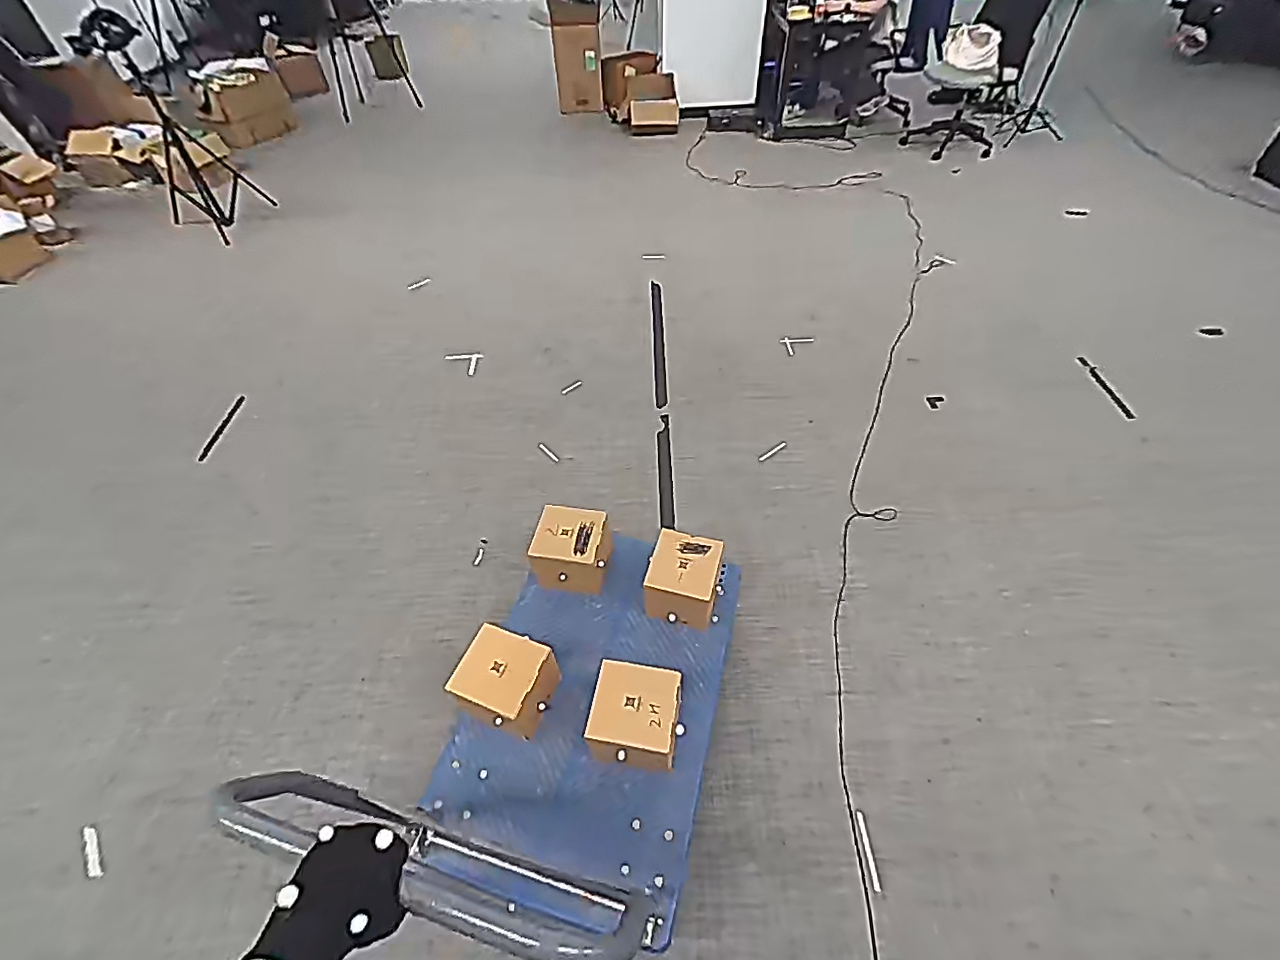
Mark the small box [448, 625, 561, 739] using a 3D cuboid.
[{"bbox_3d":[-0.301,0.466,1.239,0.179,0.176,0.168,16,52,15],"label":"small box"}]

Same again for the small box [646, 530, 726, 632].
[{"bbox_3d":[0.119,0.261,1.393,0.168,0.176,0.179,12,52,13],"label":"small box"}]

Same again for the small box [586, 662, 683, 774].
[{"bbox_3d":[-0.005,0.519,1.176,0.179,0.176,0.168,7,50,9],"label":"small box"}]
